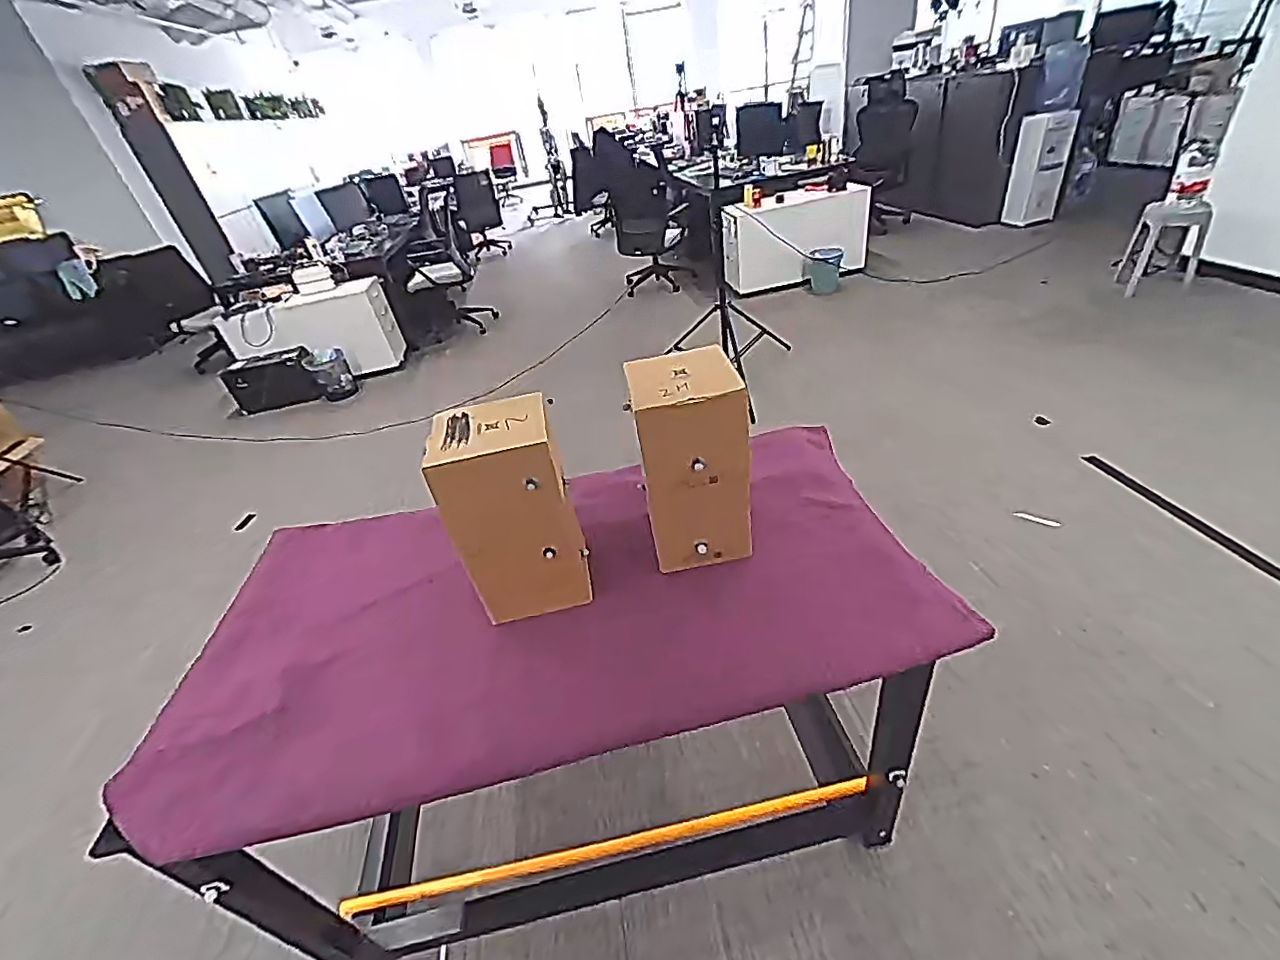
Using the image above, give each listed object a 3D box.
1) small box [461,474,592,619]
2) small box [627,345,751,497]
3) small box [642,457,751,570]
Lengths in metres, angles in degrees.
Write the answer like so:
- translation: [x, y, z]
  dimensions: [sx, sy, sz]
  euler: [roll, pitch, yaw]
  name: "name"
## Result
- translation: [-0.191, 0.117, 0.939]
  dimensions: [0.179, 0.176, 0.168]
  euler: [-12, 35, -3]
  name: "small box"
- translation: [0.077, -0.097, 0.879]
  dimensions: [0.168, 0.176, 0.179]
  euler: [-11, 36, 0]
  name: "small box"
- translation: [0.099, 0.035, 0.975]
  dimensions: [0.168, 0.176, 0.179]
  euler: [-11, 36, 0]
  name: "small box"
